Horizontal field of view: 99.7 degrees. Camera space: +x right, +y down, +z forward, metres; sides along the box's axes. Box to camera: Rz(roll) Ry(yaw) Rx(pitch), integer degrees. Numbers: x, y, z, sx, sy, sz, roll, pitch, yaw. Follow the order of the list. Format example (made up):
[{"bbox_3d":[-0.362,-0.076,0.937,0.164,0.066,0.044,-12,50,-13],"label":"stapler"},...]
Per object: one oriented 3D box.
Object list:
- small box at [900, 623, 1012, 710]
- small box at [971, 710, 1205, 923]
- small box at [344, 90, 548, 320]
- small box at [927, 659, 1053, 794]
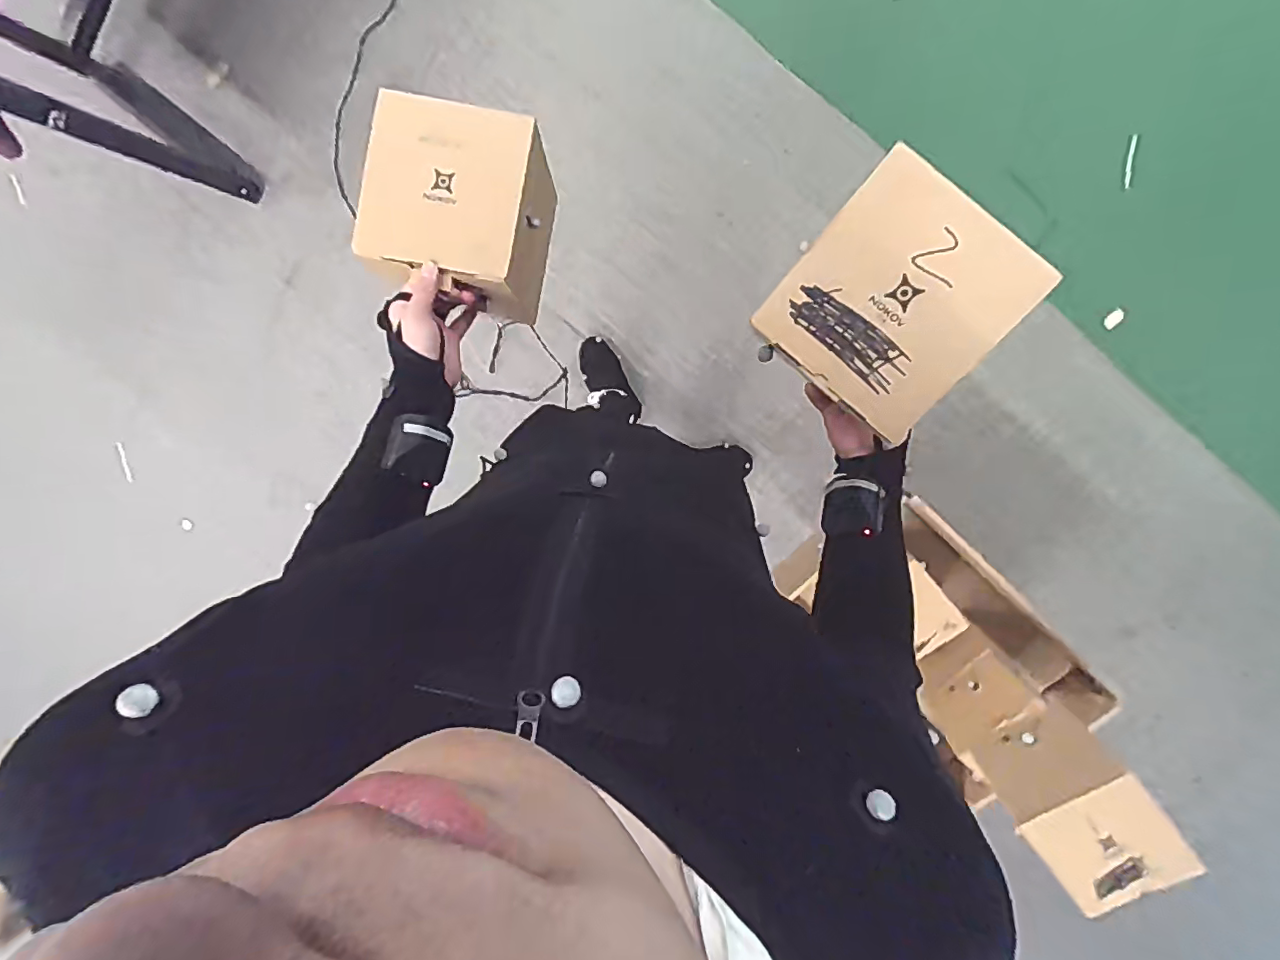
[{"bbox_3d":[0.686,0.432,1.125,0.179,0.176,0.168,43,102,-1],"label":"small box"},{"bbox_3d":[0.646,0.488,0.806,0.168,0.176,0.179,-37,92,13],"label":"small box"},{"bbox_3d":[-0.212,-0.305,0.639,0.168,0.176,0.179,10,90,-1],"label":"small box"},{"bbox_3d":[0.663,0.459,0.967,0.179,0.176,0.168,43,103,-1],"label":"small box"}]
